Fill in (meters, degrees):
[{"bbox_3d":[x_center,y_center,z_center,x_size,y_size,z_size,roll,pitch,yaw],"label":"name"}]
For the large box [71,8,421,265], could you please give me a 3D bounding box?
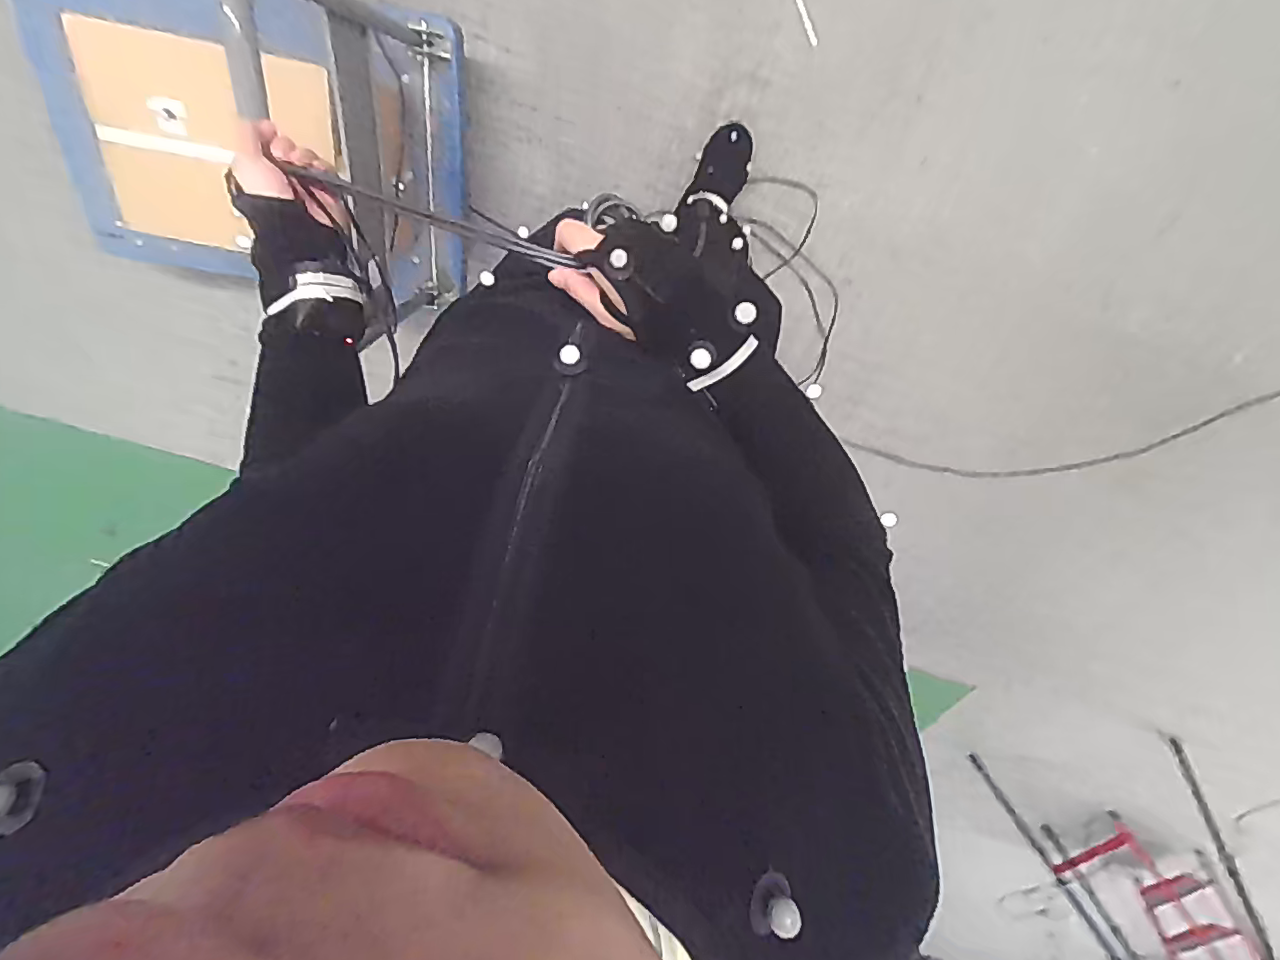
[{"bbox_3d":[-0.680,-0.633,1.027,0.408,0.320,0.320,11,122,-3],"label":"large box"}]
